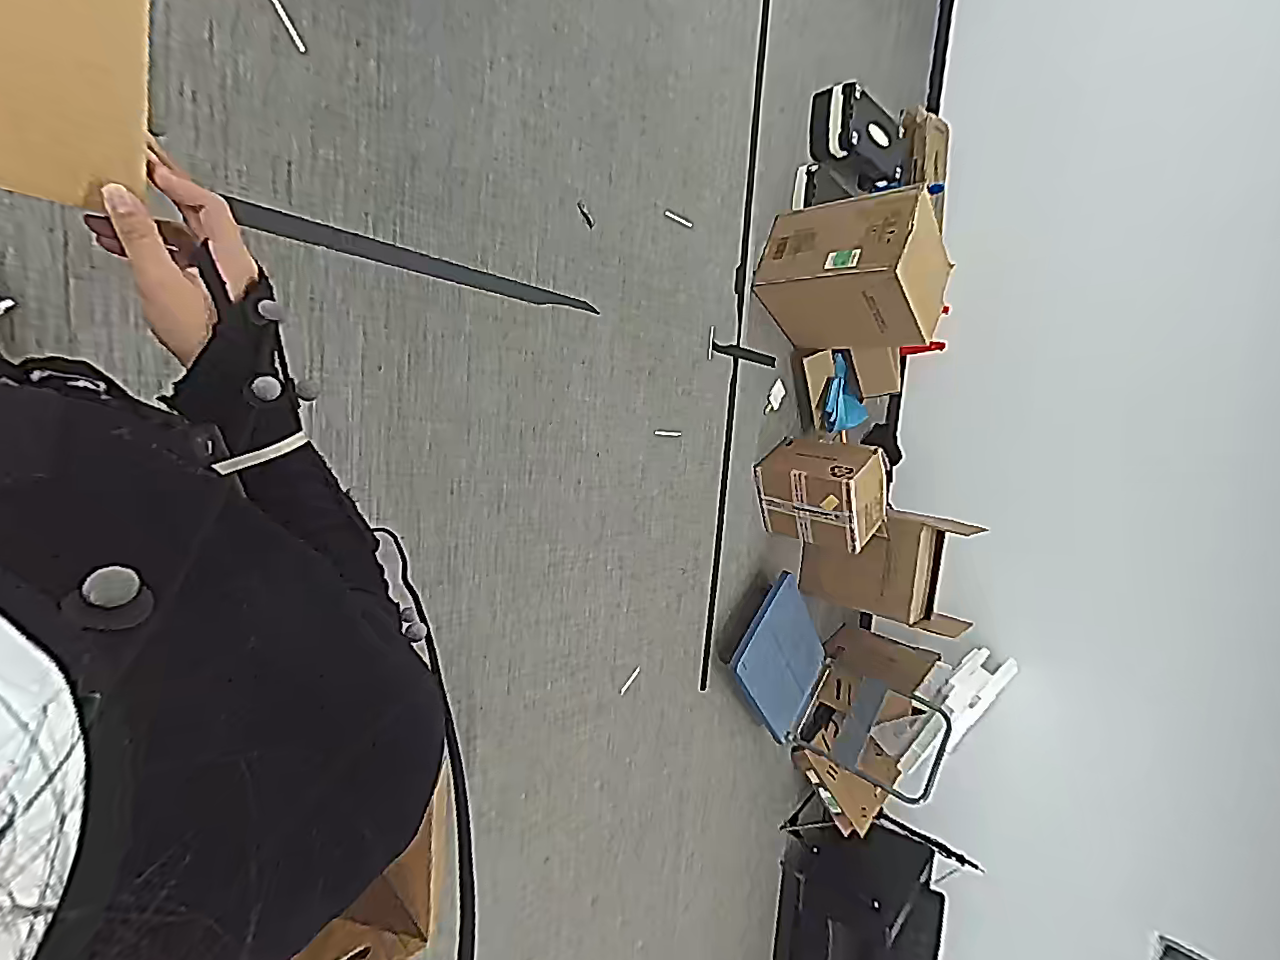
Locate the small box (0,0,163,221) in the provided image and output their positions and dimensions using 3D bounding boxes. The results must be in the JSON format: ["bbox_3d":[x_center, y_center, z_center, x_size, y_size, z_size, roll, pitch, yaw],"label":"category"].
[{"bbox_3d":[-0.379,-0.258,0.284,0.179,0.176,0.168,-1,113,-47],"label":"small box"}]
